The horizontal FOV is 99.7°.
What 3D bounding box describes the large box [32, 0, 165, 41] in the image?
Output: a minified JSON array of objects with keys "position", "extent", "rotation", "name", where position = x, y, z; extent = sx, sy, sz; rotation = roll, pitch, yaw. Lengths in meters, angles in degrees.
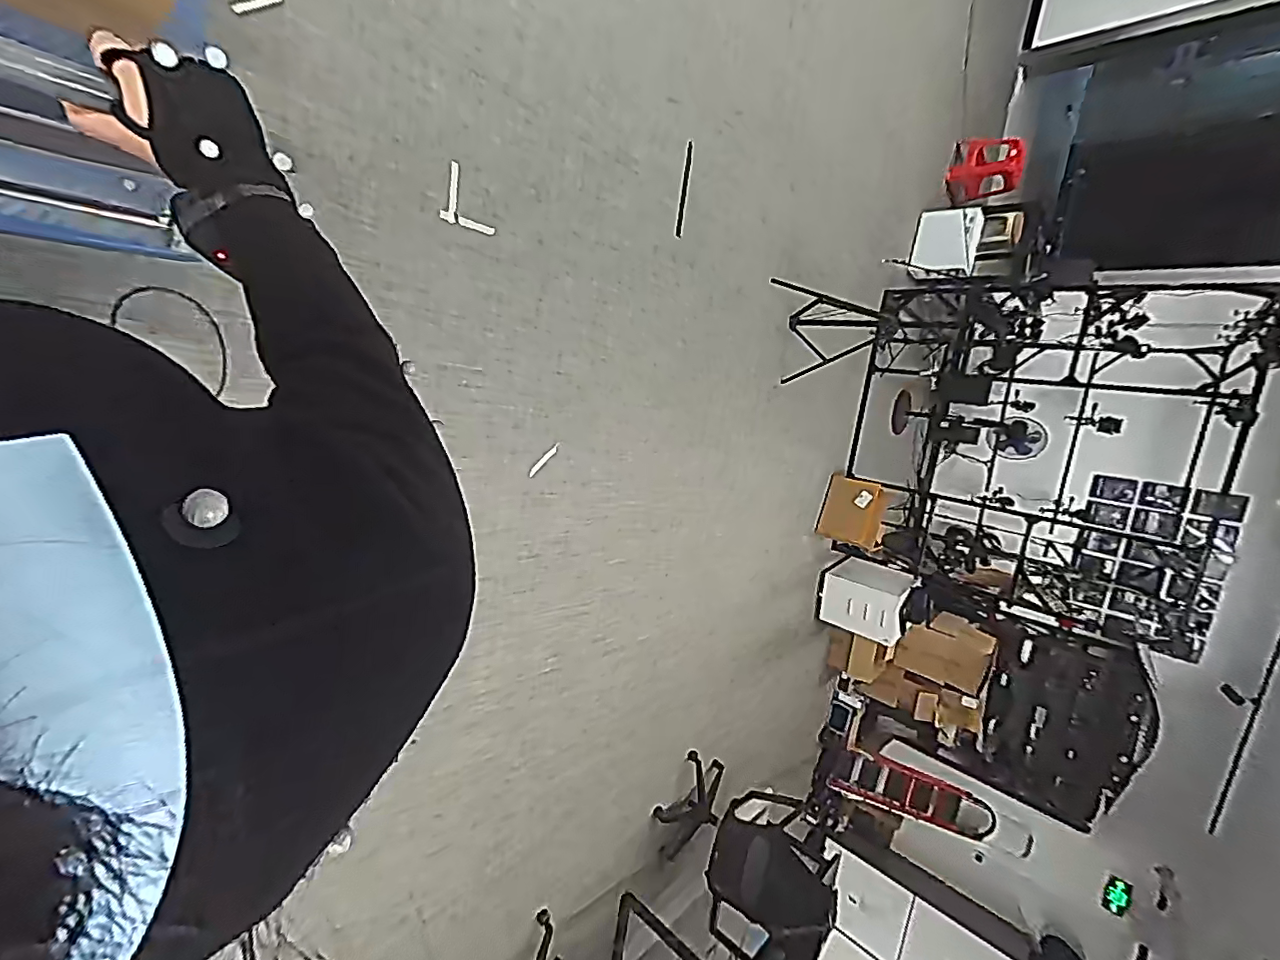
[{"position":[-0.843,-0.834,0.642],"extent":[0.408,0.320,0.320],"rotation":[-5,105,-47],"name":"large box"}]
